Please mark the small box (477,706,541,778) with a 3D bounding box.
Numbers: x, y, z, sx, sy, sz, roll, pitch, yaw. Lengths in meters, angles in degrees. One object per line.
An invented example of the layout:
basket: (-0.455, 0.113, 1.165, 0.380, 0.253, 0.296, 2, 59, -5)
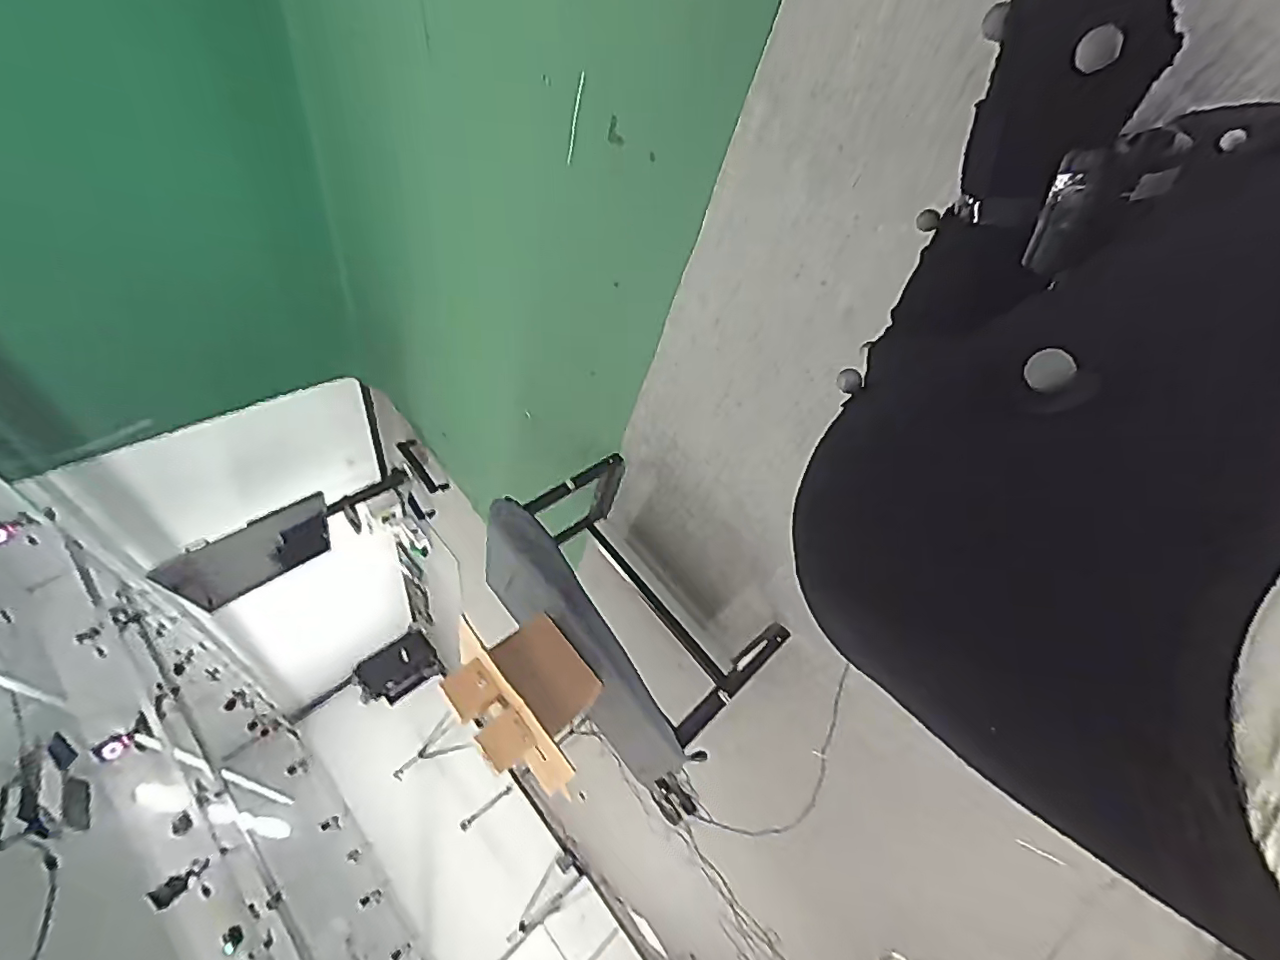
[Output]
small box: (-0.490, 0.981, 2.030, 0.168, 0.176, 0.179, 48, 145, 16)
